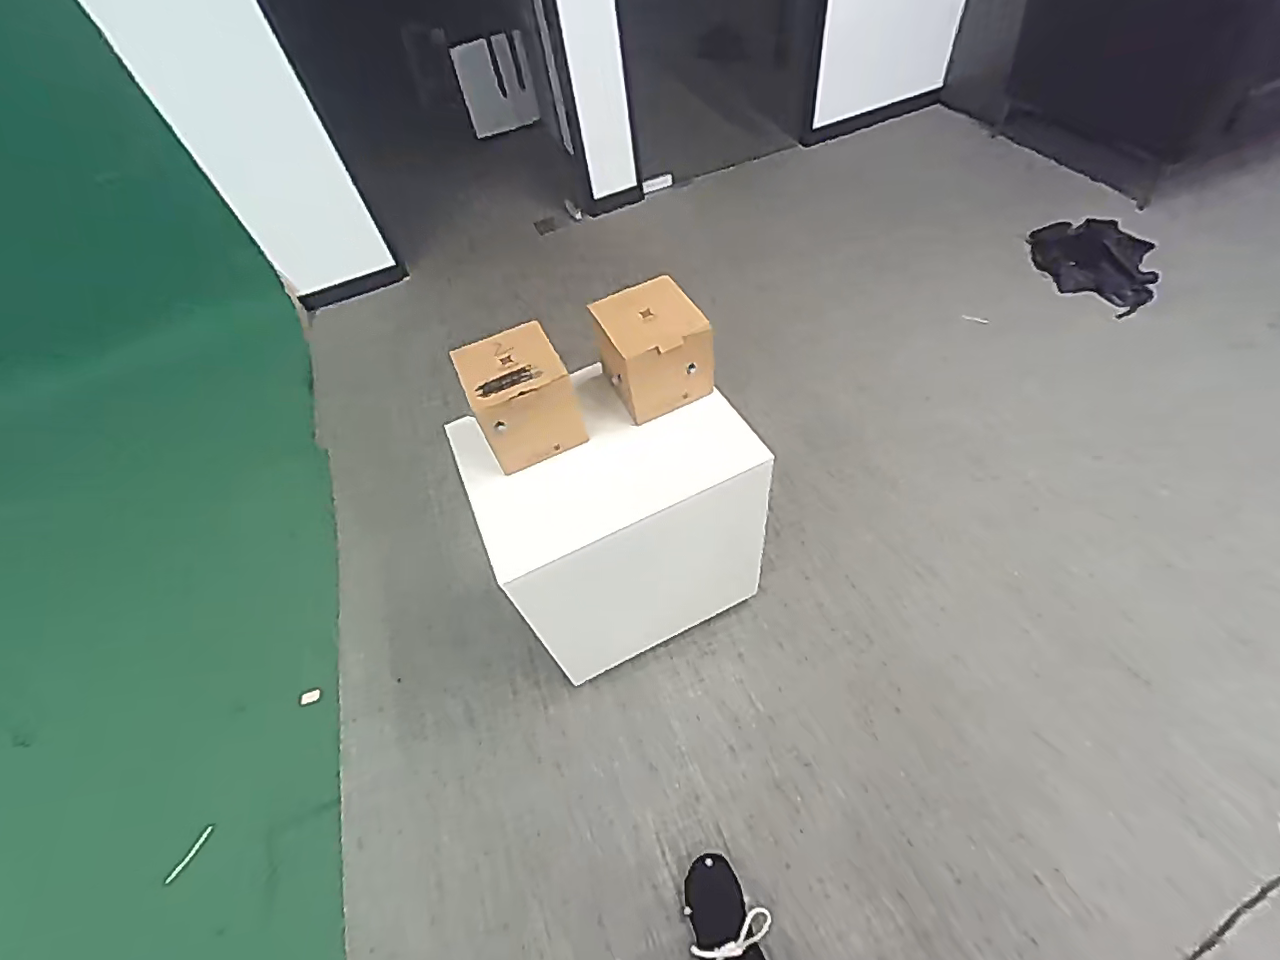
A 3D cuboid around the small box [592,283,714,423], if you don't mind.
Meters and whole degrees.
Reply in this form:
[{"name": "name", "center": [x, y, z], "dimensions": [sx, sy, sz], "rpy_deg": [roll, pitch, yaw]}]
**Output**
[{"name": "small box", "center": [0.029, -0.228, 1.008], "dimensions": [0.168, 0.176, 0.179], "rpy_deg": [-23, 53, -10]}]
